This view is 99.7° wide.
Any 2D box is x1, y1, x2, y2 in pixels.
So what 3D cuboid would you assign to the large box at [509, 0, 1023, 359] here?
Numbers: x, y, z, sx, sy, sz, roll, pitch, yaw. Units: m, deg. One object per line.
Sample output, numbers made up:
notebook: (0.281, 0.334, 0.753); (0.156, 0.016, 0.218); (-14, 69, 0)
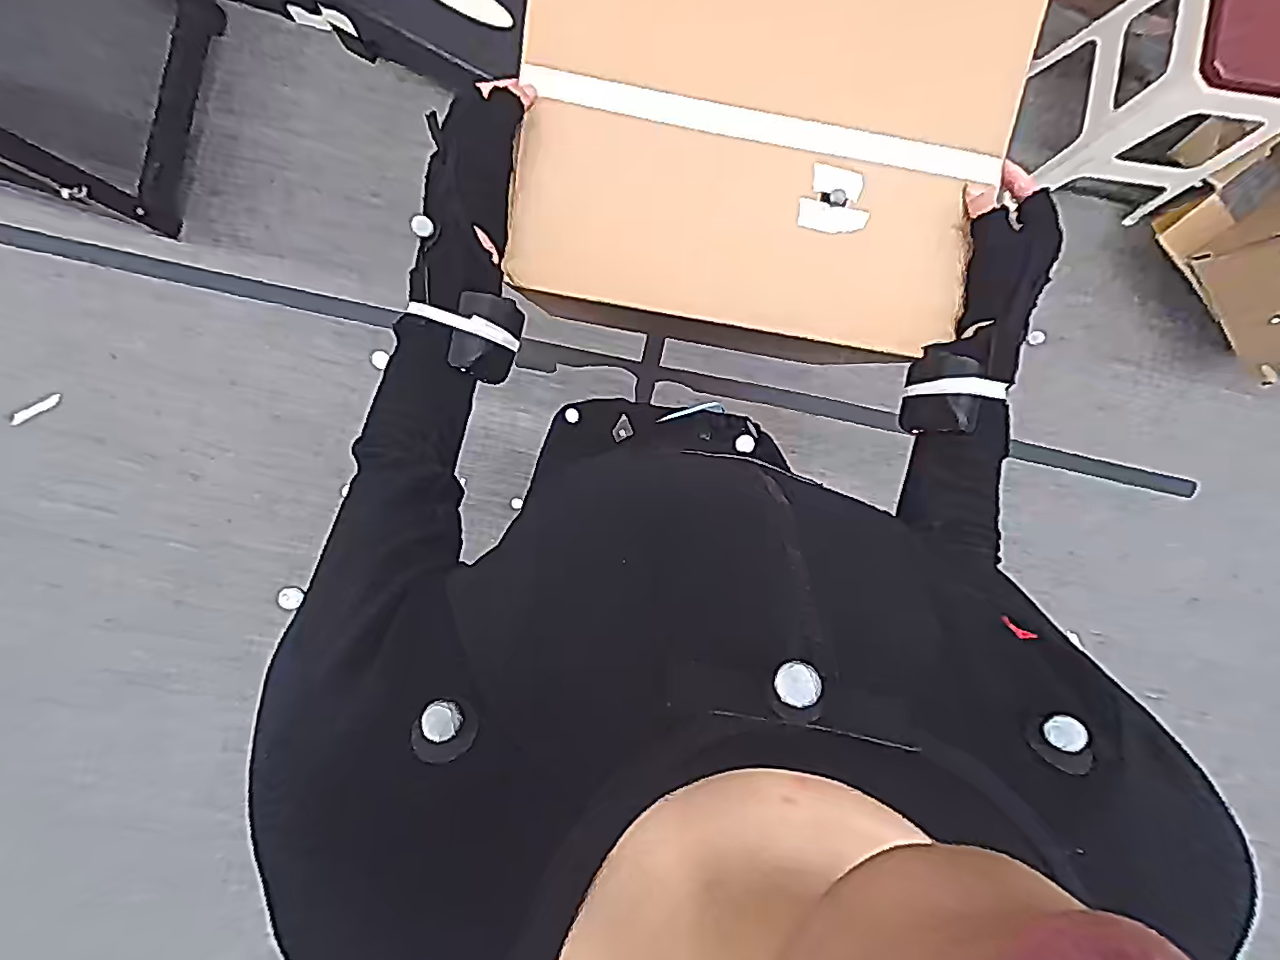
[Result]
large box: (0.093, -0.323, 0.607); (0.408, 0.320, 0.320); (9, 102, -4)
